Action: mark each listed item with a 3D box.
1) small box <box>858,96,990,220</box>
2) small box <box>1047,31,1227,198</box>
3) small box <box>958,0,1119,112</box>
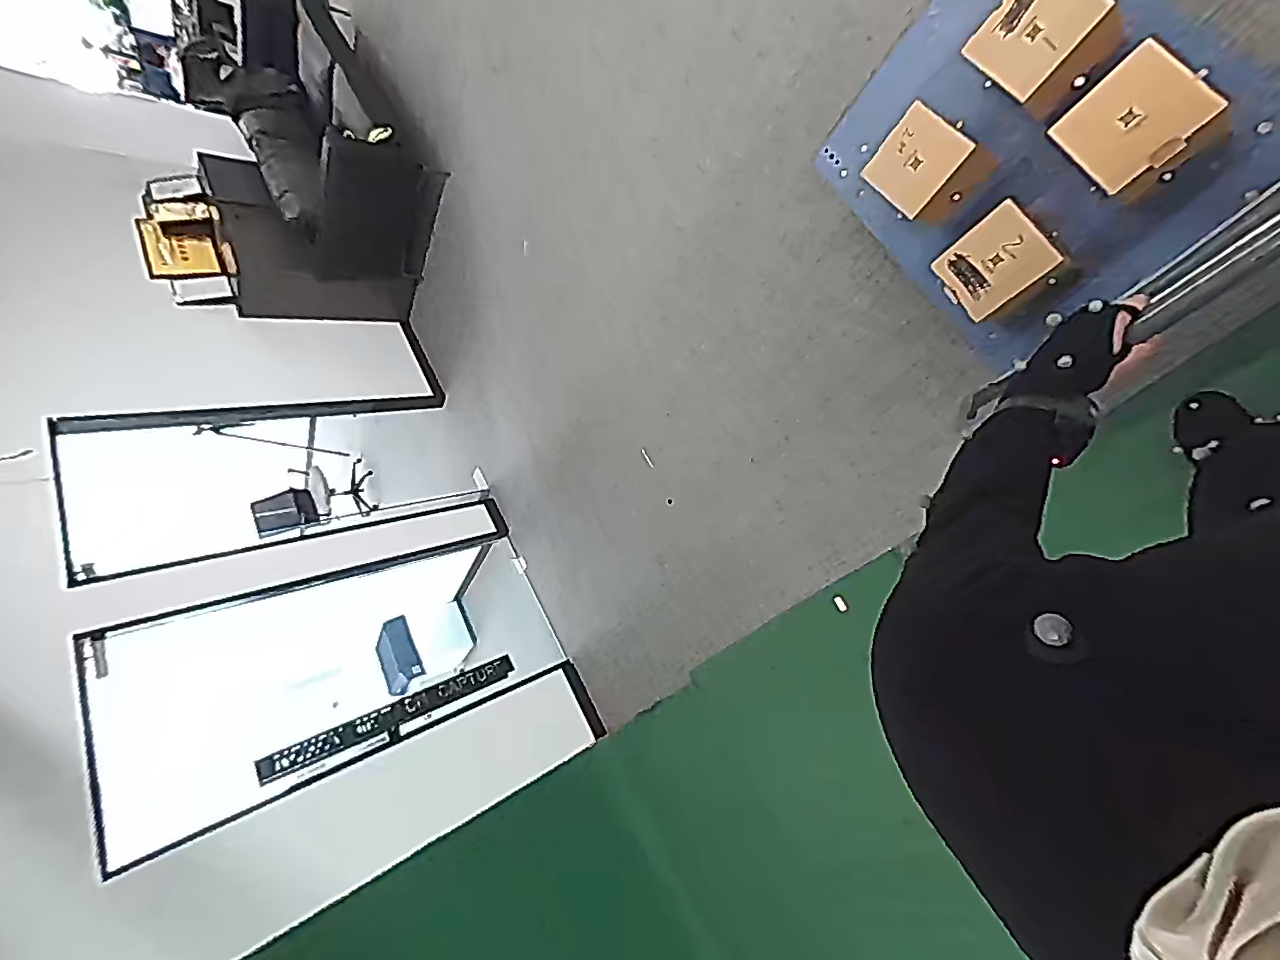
[{"bbox_3d":[0.635,-0.706,1.205,0.179,0.176,0.168,56,134,20],"label":"small box"},{"bbox_3d":[0.881,-0.636,0.966,0.168,0.176,0.179,-45,69,44],"label":"small box"},{"bbox_3d":[0.759,-0.844,1.031,0.179,0.176,0.168,57,136,17],"label":"small box"}]
